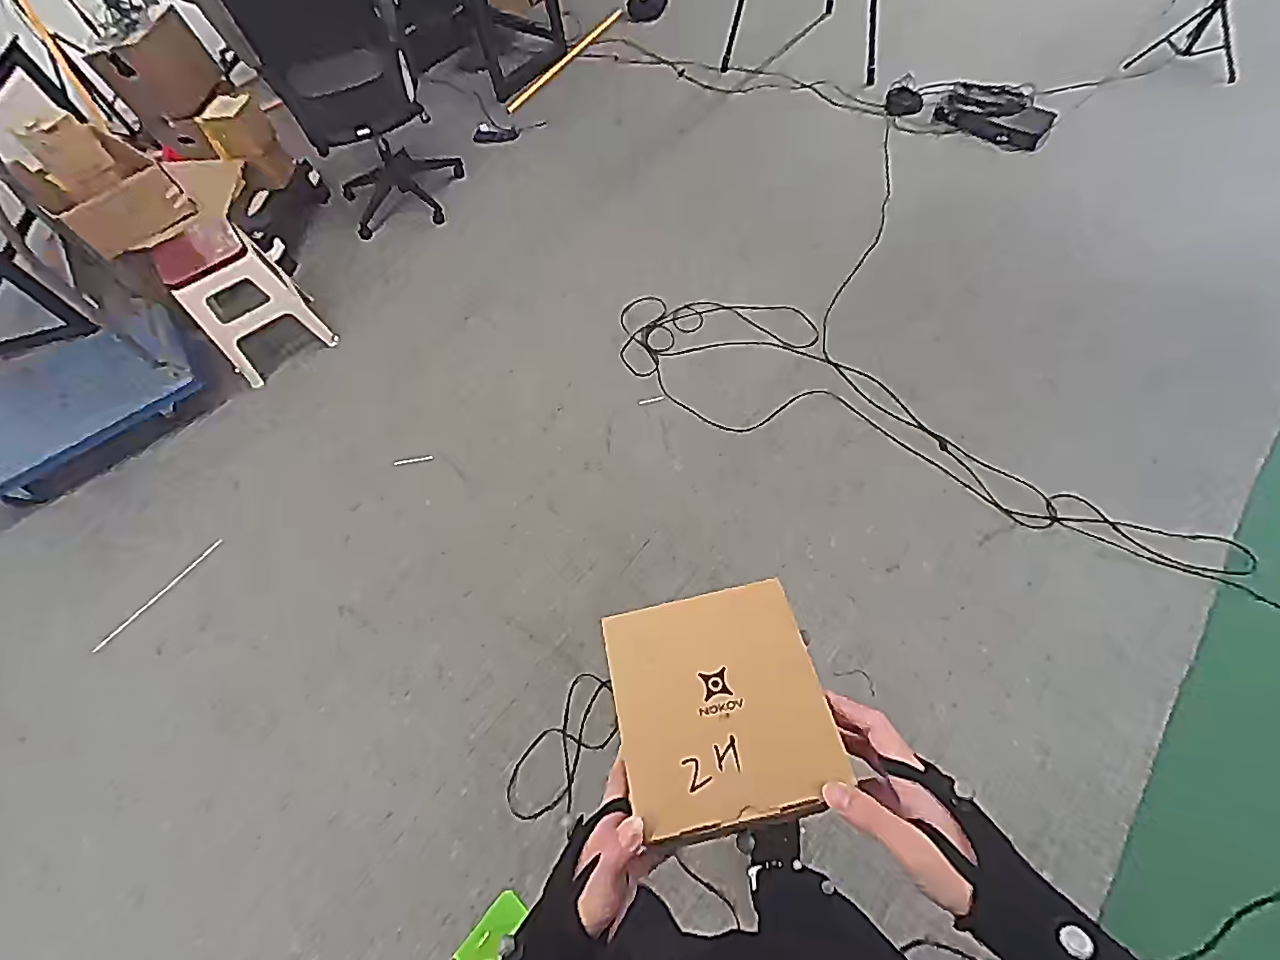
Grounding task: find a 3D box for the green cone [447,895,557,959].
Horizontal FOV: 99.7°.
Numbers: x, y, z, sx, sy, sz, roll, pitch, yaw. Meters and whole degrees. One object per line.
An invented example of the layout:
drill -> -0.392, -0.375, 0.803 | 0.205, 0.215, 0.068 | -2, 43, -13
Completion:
green cone -> -0.327, 0.998, 1.052 | 0.200, 0.368, 0.202 | 35, 69, 22
